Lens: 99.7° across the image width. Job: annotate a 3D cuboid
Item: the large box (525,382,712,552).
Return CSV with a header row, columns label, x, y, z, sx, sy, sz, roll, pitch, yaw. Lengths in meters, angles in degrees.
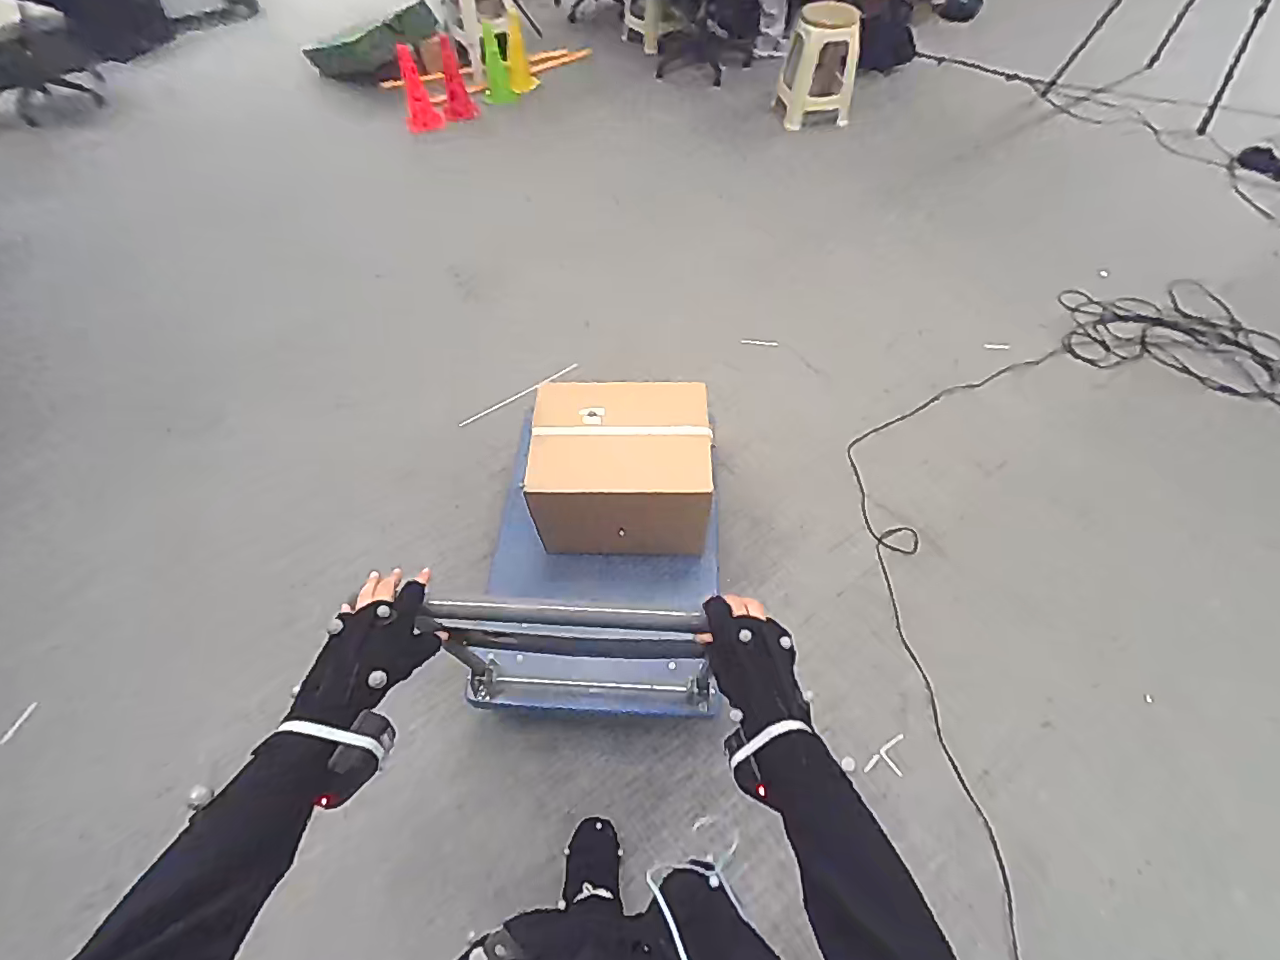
label,x,y,z,sx,sy,sz,roll,pitch,yaw
large box,-0.040,-0.022,1.347,0.408,0.320,0.320,-1,57,2
